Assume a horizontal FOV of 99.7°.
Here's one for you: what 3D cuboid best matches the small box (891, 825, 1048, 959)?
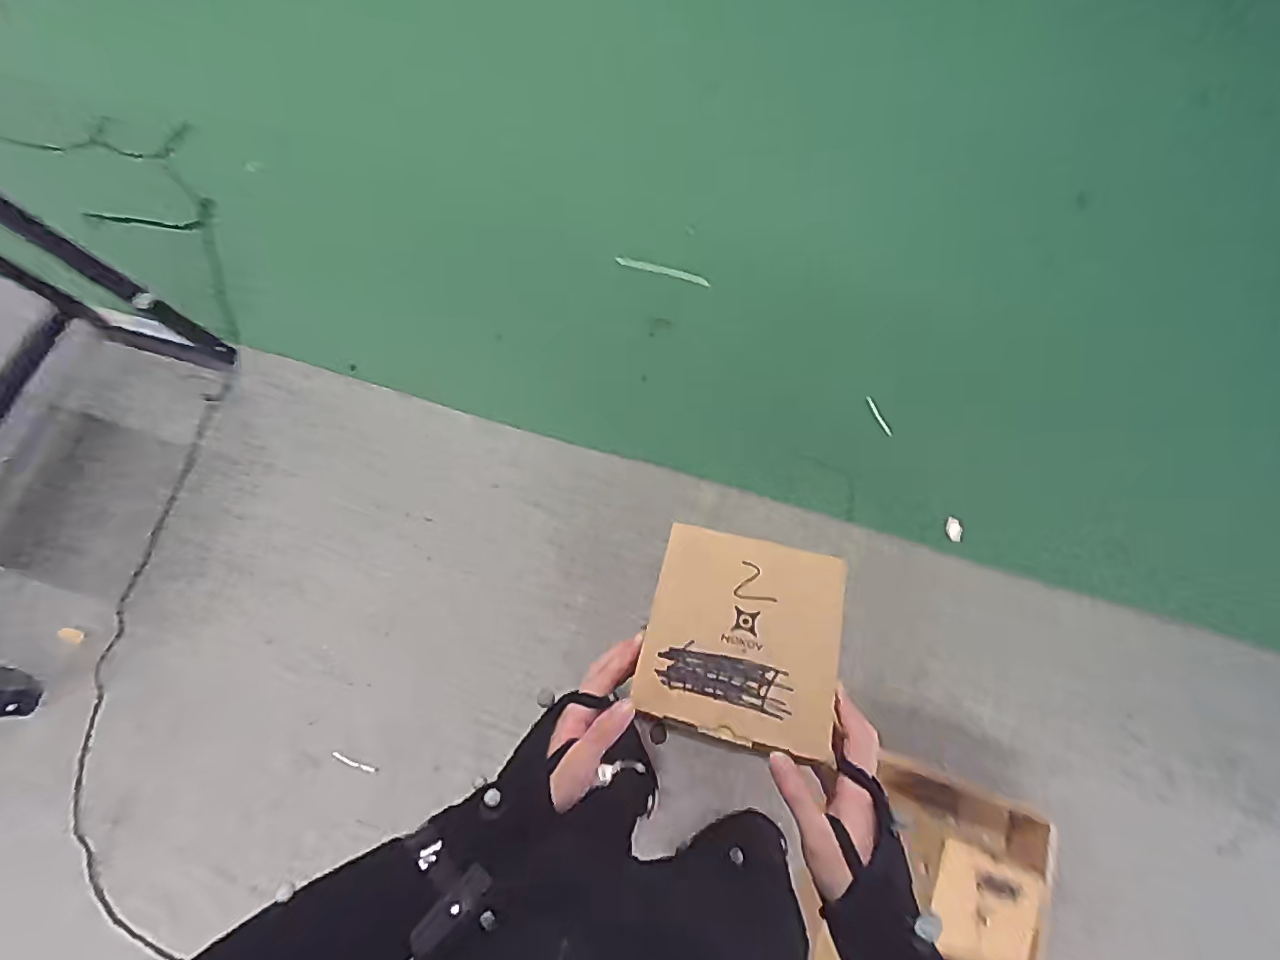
[{"bbox_3d":[0.582,0.766,0.975,0.168,0.176,0.179,22,76,10],"label":"small box"}]
